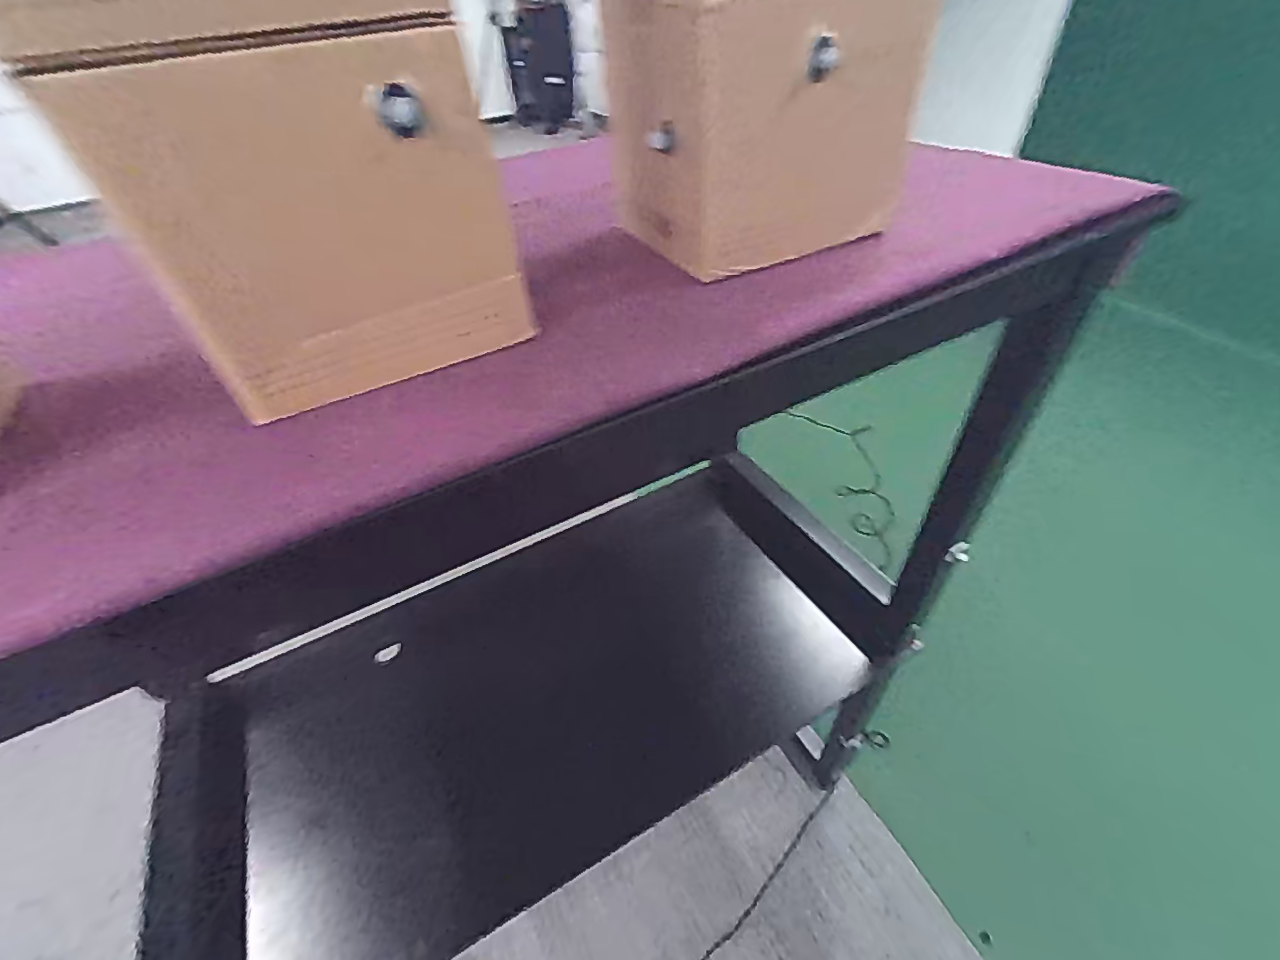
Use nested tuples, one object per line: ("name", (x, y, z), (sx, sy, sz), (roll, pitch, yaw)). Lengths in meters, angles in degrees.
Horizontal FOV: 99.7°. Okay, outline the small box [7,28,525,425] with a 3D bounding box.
("small box", (-0.194, -0.159, 0.336), (0.179, 0.176, 0.168), (-24, 45, -18))
